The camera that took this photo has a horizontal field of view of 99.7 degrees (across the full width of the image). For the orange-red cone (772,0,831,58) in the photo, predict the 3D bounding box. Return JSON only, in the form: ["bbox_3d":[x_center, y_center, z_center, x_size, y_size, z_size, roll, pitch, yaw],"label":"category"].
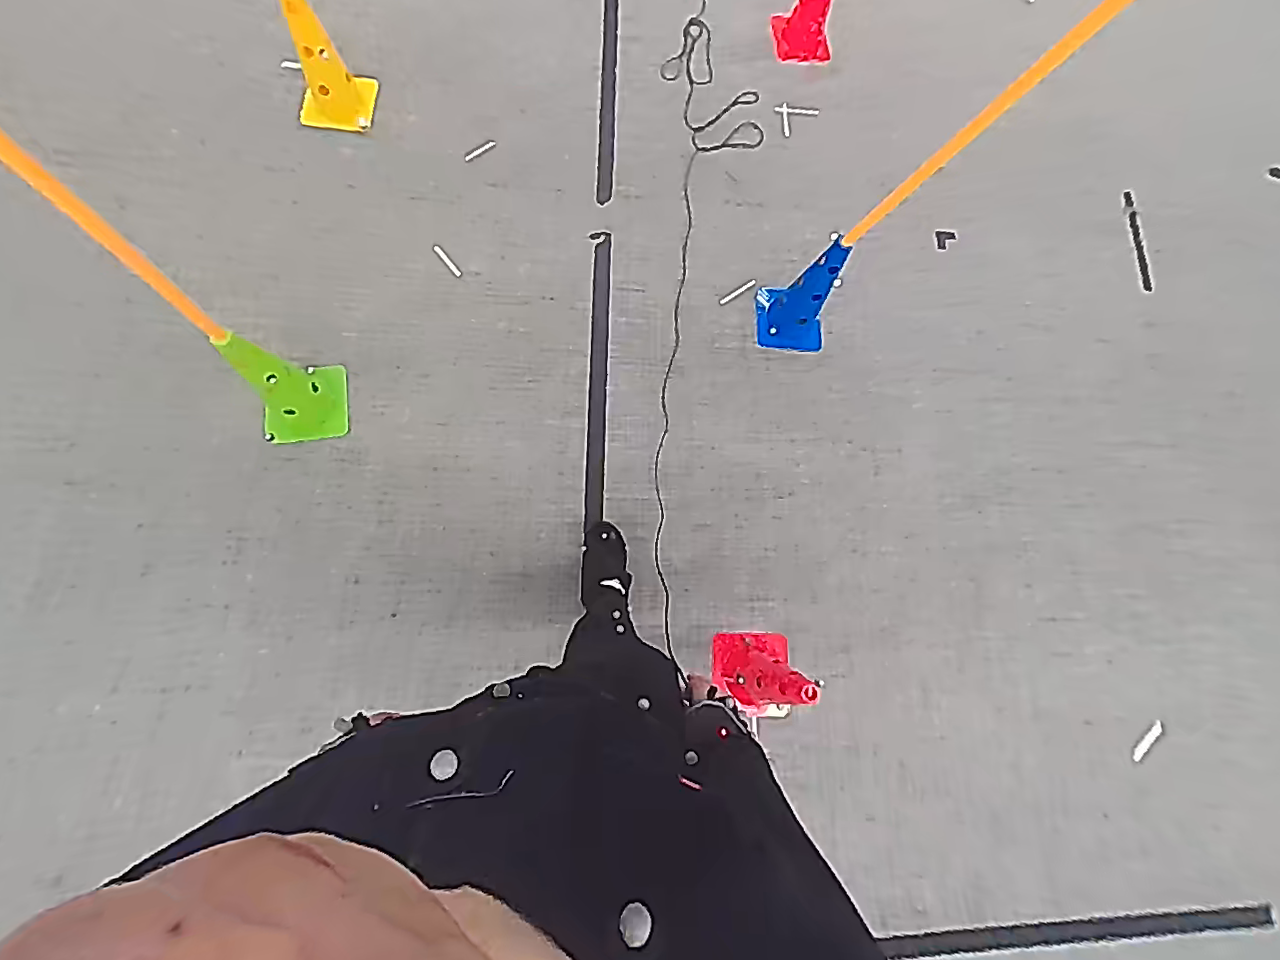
[{"bbox_3d":[0.587,-1.608,1.743,0.199,0.360,0.198,-4,76,-6],"label":"orange-red cone"}]

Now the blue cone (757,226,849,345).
[{"bbox_3d":[0.467,-0.537,1.472,0.193,0.380,0.192,4,75,-6],"label":"blue cone"}]

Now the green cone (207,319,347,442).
[{"bbox_3d":[-0.845,-0.247,1.233,0.200,0.368,0.202,-9,75,-9],"label":"green cone"}]
